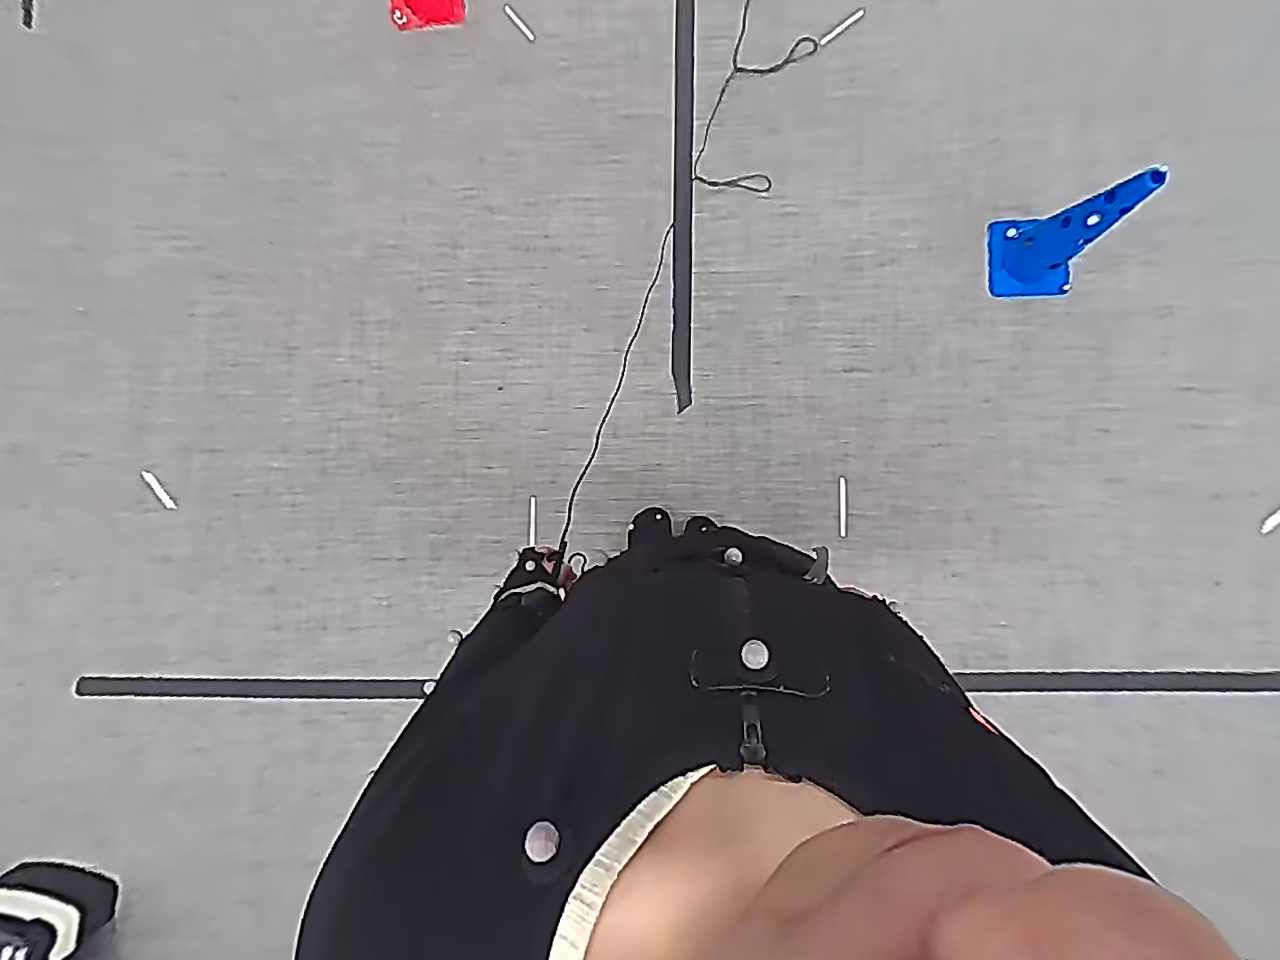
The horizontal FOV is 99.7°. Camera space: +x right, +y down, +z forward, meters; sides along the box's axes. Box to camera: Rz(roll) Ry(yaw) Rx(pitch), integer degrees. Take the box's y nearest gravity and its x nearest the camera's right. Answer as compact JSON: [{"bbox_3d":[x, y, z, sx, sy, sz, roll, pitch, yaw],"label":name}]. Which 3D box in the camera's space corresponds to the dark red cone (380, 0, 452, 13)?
[{"bbox_3d":[-0.595,-1.337,1.260,0.201,0.394,0.202,-8,88,1],"label":"dark red cone"}]

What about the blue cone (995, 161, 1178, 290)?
[{"bbox_3d":[0.994,-0.582,1.208,0.192,0.380,0.193,1,88,1],"label":"blue cone"}]
